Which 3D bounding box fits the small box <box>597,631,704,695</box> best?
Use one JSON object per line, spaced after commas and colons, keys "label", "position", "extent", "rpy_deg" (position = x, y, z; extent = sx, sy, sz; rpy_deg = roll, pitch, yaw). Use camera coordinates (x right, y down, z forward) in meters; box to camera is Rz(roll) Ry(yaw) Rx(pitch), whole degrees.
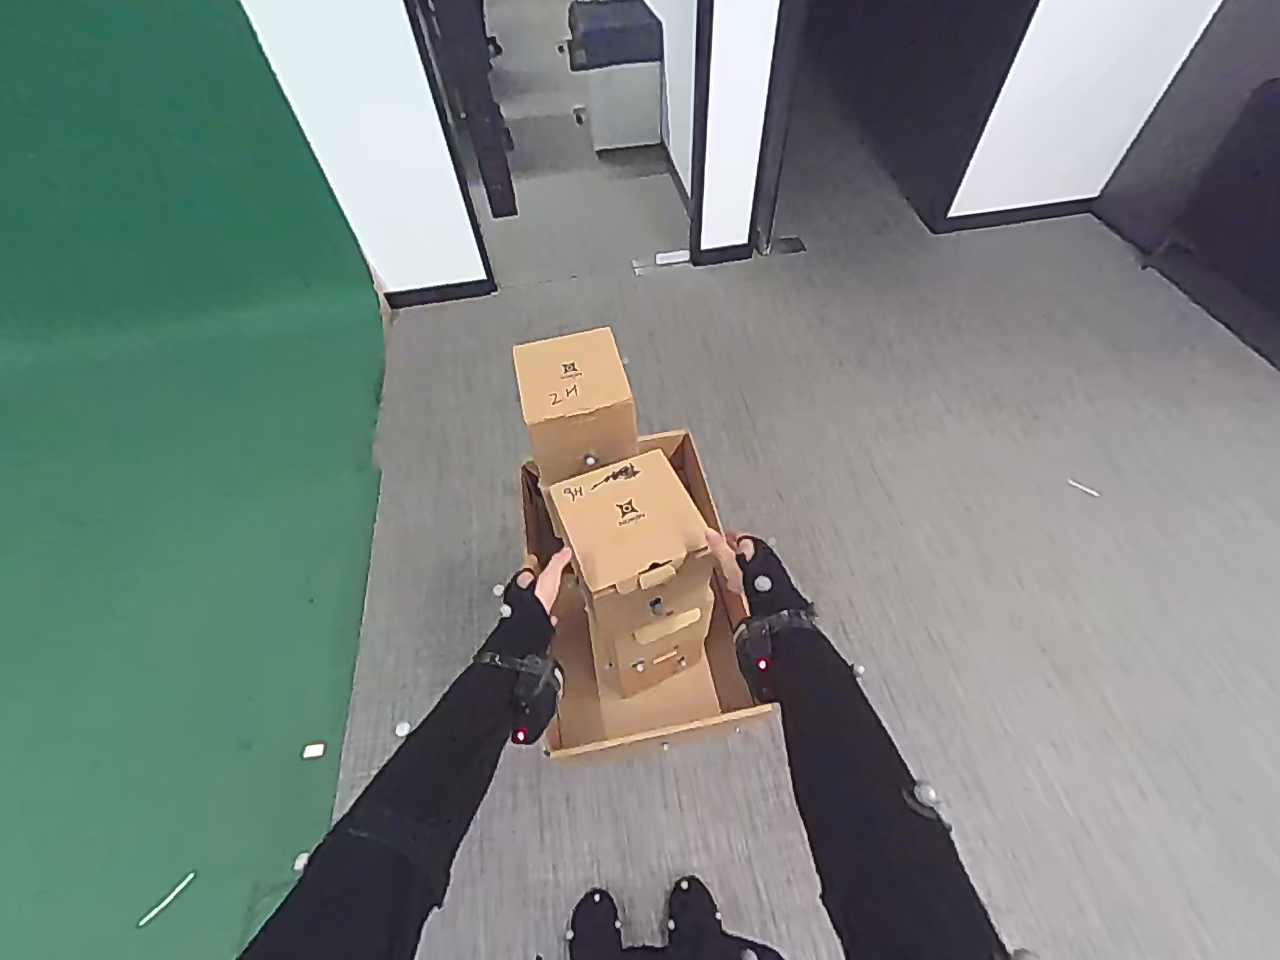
{"label": "small box", "position": [0.010, 0.288, 1.028], "extent": [0.168, 0.176, 0.179], "rpy_deg": [-21, 55, -12]}

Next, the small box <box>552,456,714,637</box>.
{"label": "small box", "position": [-0.010, 0.101, 0.759], "extent": [0.168, 0.176, 0.179], "rpy_deg": [-19, 56, -12]}

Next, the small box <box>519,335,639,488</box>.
{"label": "small box", "position": [-0.100, -0.113, 0.915], "extent": [0.168, 0.176, 0.179], "rpy_deg": [-13, 56, -5]}

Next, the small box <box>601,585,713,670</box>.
{"label": "small box", "position": [0.006, 0.194, 0.894], "extent": [0.168, 0.176, 0.179], "rpy_deg": [-21, 55, -13]}
